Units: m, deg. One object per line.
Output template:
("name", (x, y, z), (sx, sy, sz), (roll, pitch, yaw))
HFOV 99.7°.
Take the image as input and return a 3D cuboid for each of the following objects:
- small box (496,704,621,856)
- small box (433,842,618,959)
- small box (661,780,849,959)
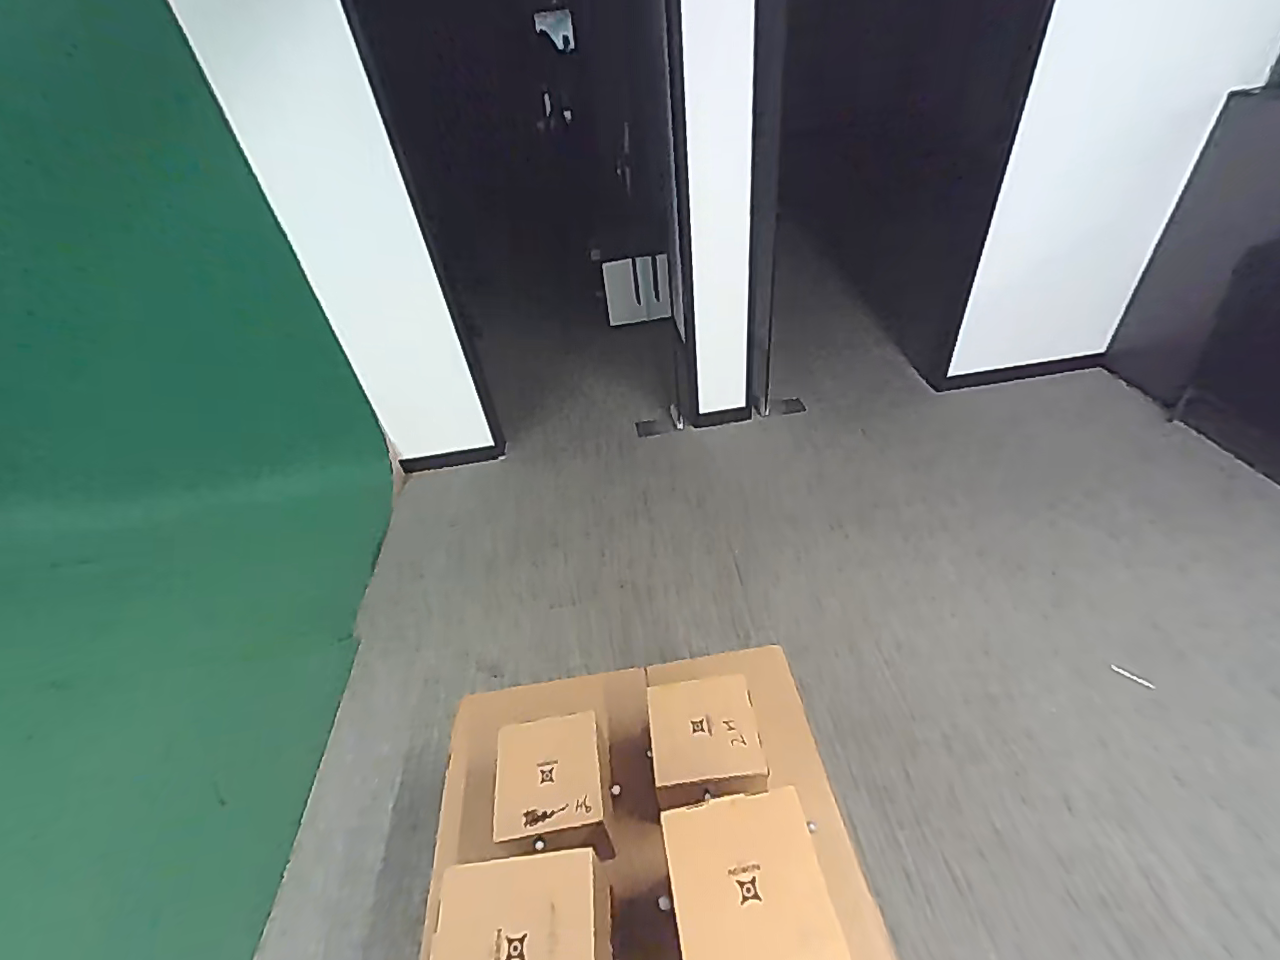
("small box", (-0.131, 0.512, 0.907), (0.168, 0.176, 0.179), (-11, 39, -1))
("small box", (-0.123, 0.543, 0.619), (0.179, 0.176, 0.168), (-8, 42, 0))
("small box", (0.126, 0.489, 0.636), (0.168, 0.176, 0.179), (-11, 40, -1))
